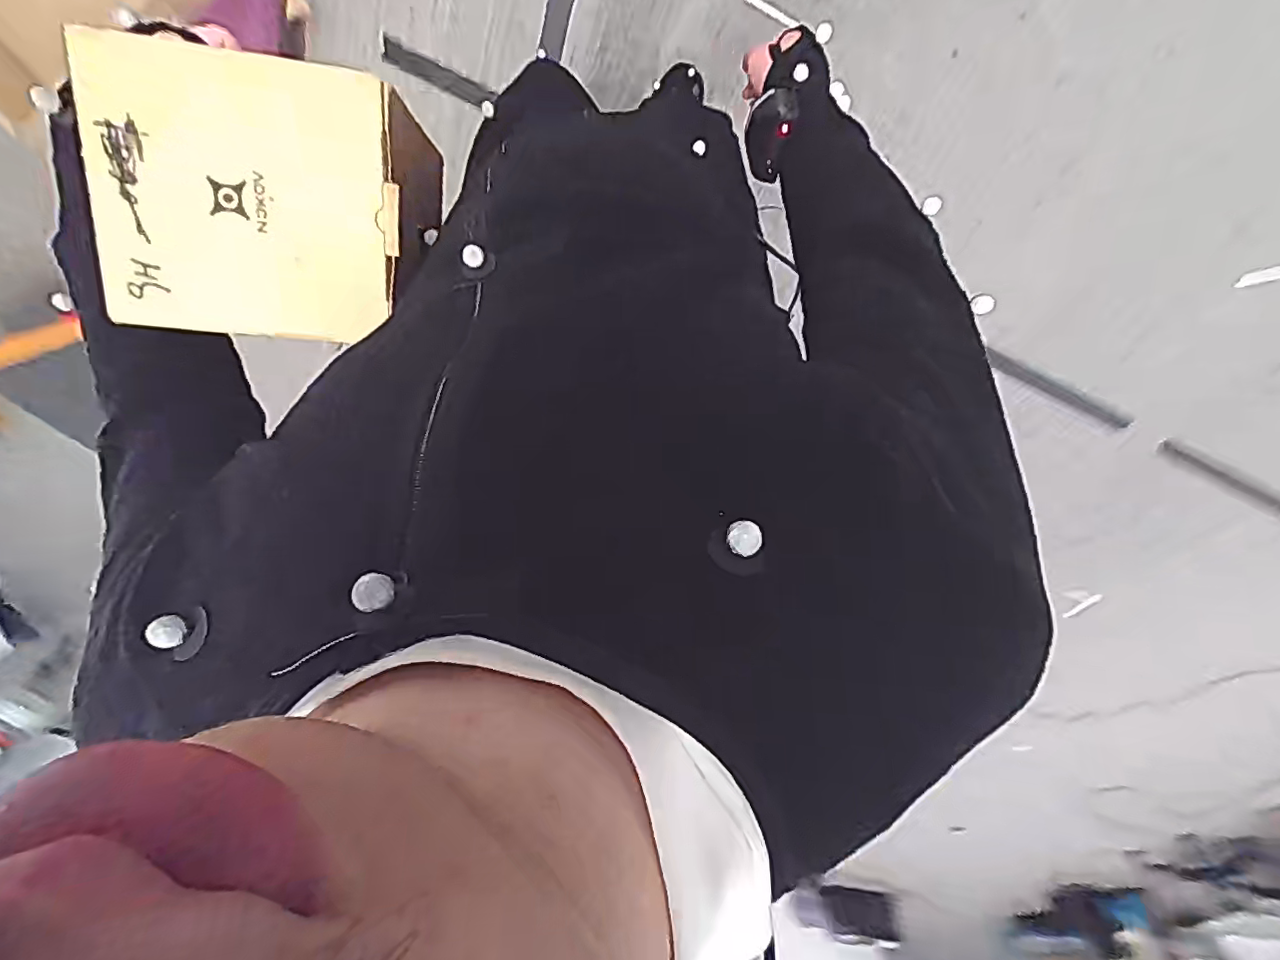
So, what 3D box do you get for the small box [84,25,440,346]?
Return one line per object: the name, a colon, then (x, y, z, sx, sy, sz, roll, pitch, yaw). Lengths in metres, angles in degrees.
small box: (-0.261, -0.203, 0.426, 0.179, 0.176, 0.168, 4, 105, -11)
